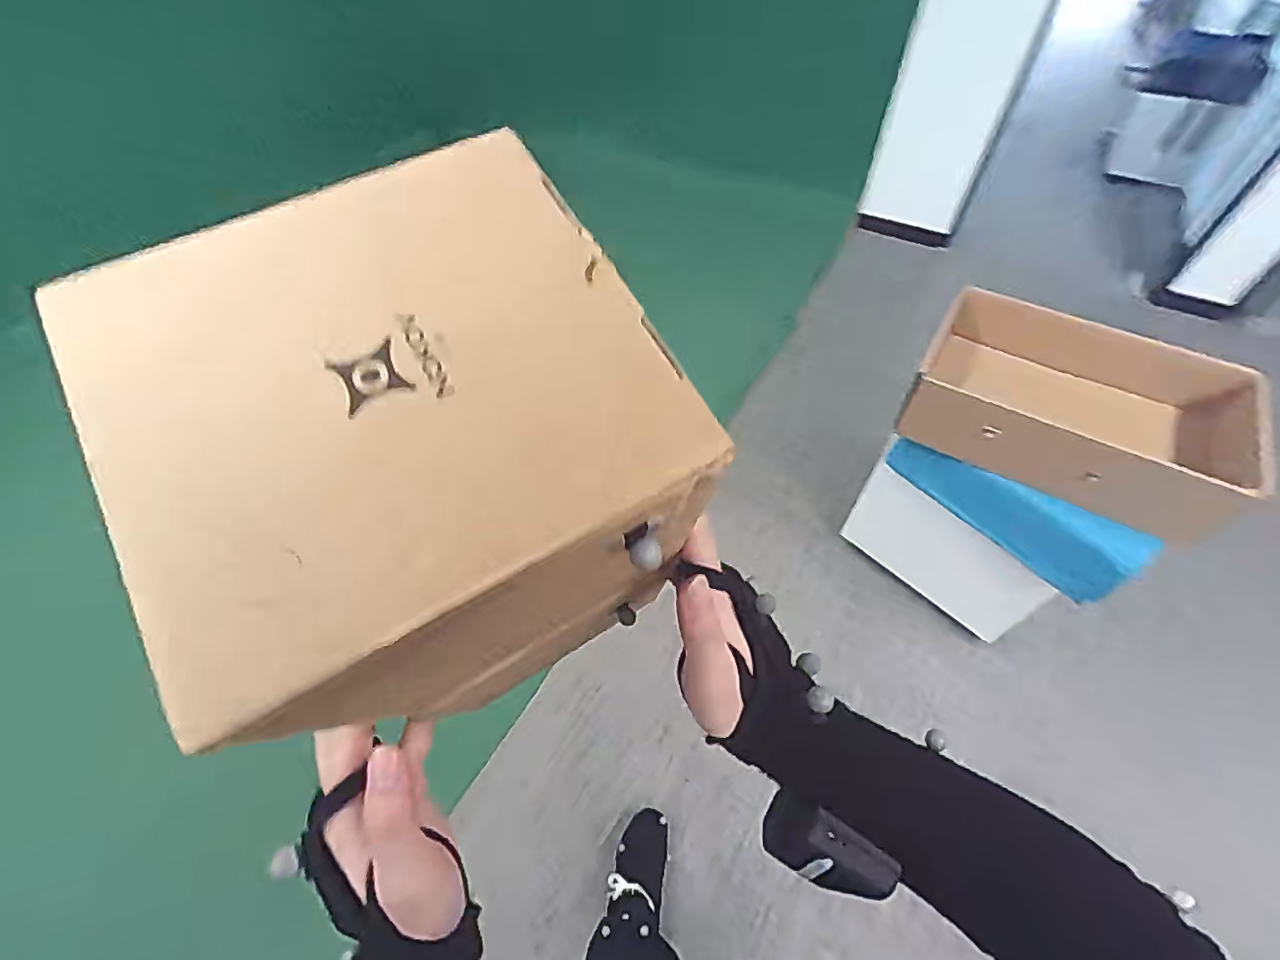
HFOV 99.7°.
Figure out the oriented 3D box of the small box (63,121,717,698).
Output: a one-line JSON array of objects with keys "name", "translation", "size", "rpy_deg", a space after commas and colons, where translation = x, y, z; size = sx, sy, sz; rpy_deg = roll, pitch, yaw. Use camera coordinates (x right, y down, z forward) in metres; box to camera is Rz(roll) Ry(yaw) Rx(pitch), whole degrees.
[{"name": "small box", "translation": [-0.090, -0.016, 0.257], "size": [0.179, 0.176, 0.168], "rpy_deg": [-28, 73, -13]}]
